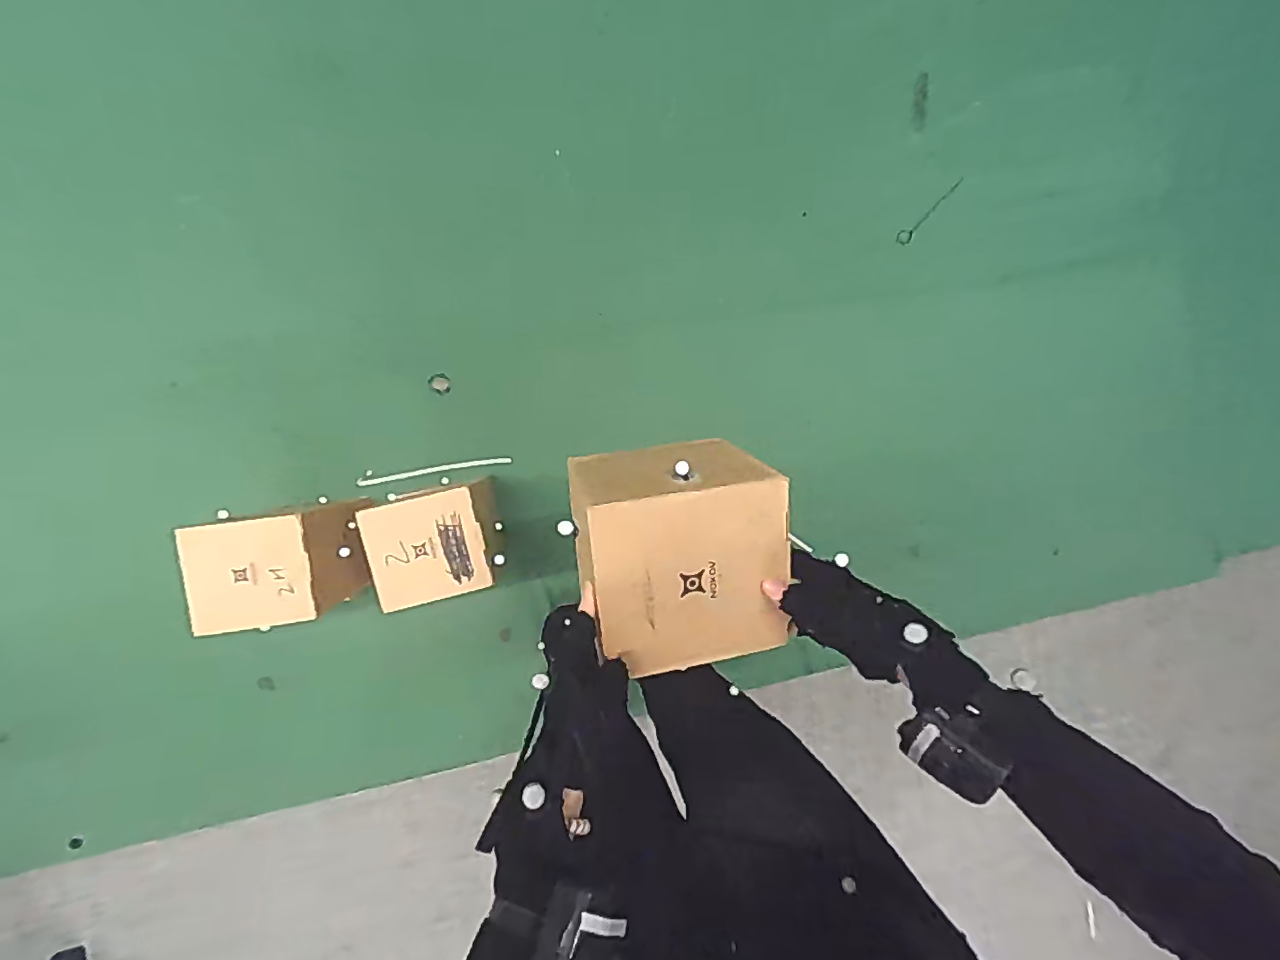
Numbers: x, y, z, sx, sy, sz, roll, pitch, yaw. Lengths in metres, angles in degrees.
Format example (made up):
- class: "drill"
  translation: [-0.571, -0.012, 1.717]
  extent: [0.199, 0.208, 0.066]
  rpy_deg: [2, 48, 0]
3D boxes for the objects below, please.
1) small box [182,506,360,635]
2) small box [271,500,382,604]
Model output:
- class: "small box"
  translation: [-0.593, 0.139, 0.892]
  extent: [0.179, 0.176, 0.168]
  rpy_deg: [-7, 94, -7]
- class: "small box"
  translation: [-0.623, 0.140, 1.055]
  extent: [0.168, 0.176, 0.179]
  rpy_deg: [-6, 94, -7]
